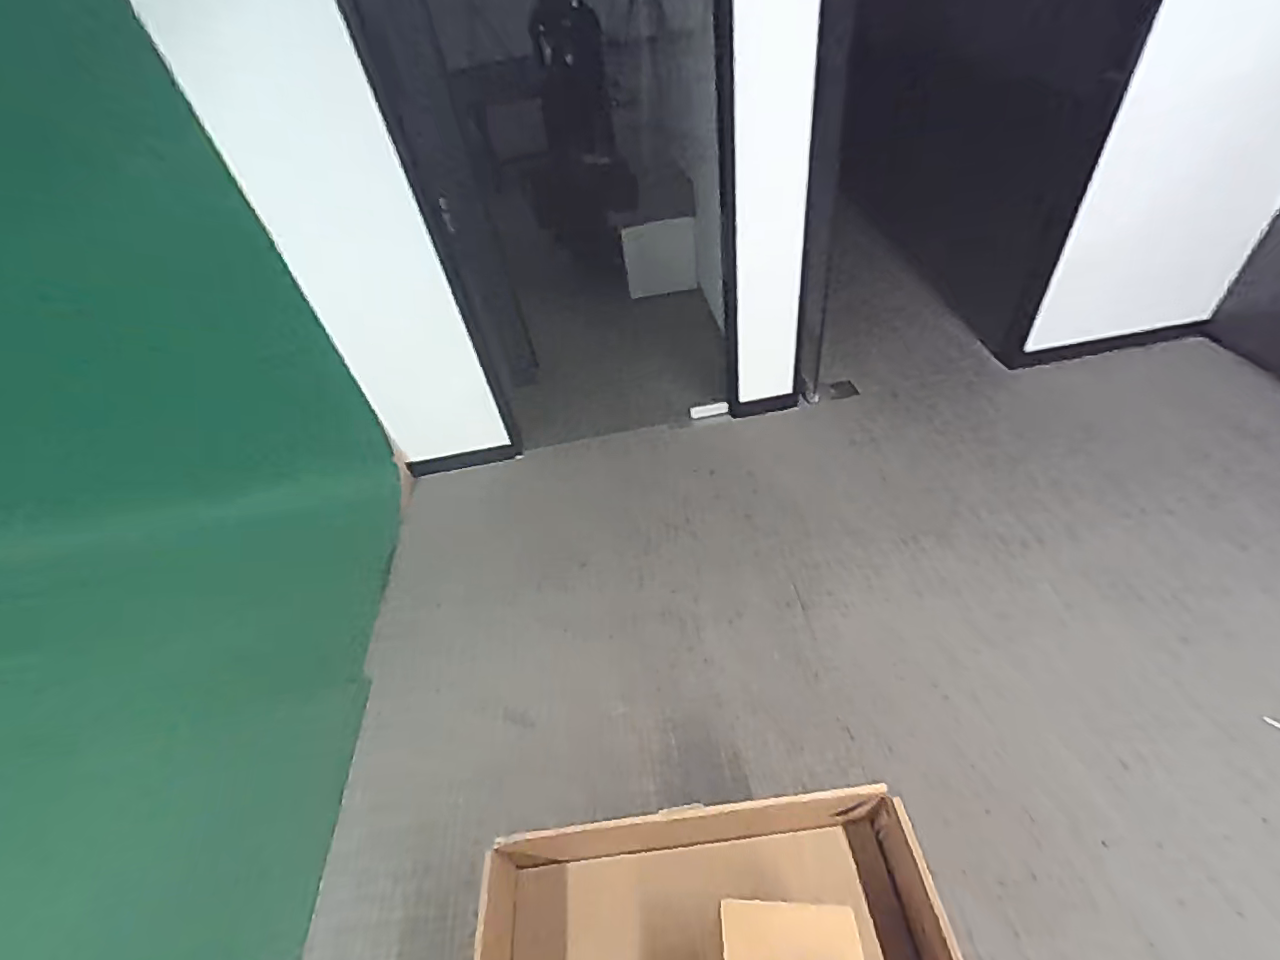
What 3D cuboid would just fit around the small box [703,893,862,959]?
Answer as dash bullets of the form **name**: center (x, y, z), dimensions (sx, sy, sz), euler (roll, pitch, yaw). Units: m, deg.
- **small box**: center (0.168, 0.628, 0.640), dimensions (0.168, 0.176, 0.179), euler (3, 37, 1)
